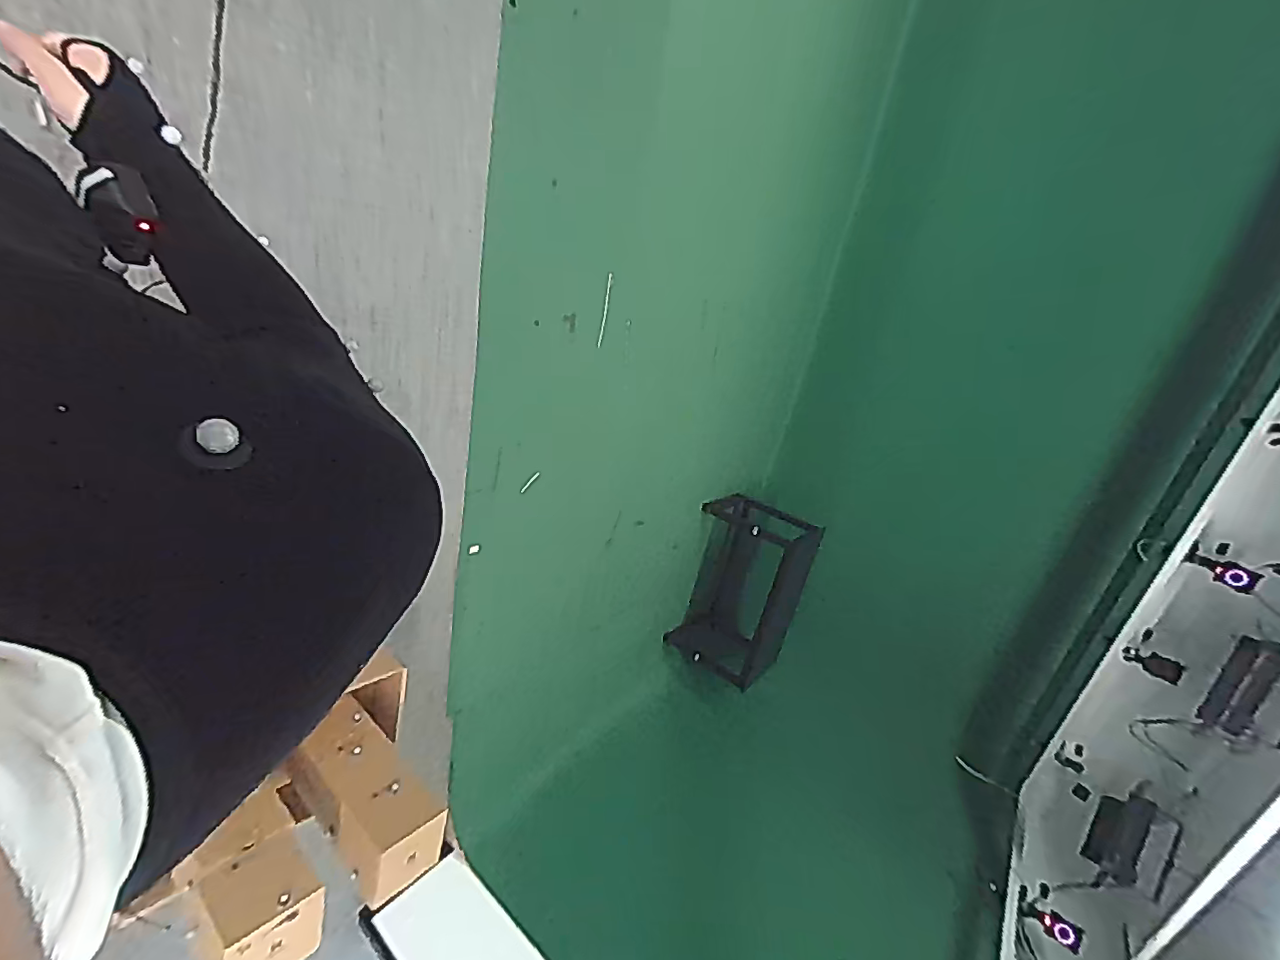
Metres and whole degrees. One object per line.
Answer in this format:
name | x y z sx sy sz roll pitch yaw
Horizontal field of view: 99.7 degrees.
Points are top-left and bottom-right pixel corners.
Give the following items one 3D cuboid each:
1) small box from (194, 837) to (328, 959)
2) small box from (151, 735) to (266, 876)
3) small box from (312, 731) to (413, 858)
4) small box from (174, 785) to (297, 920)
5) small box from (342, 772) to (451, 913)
small box | -0.734 0.850 1.045 0.168 0.176 0.179 -8 118 -53
small box | -0.978 0.724 1.225 0.168 0.176 0.179 -8 117 -53
small box | -0.698 0.776 1.353 0.168 0.176 0.179 -12 121 -53
small box | -0.852 0.784 1.138 0.168 0.176 0.179 -8 118 -53
small box | -0.573 0.836 1.266 0.168 0.176 0.179 -10 120 -54
